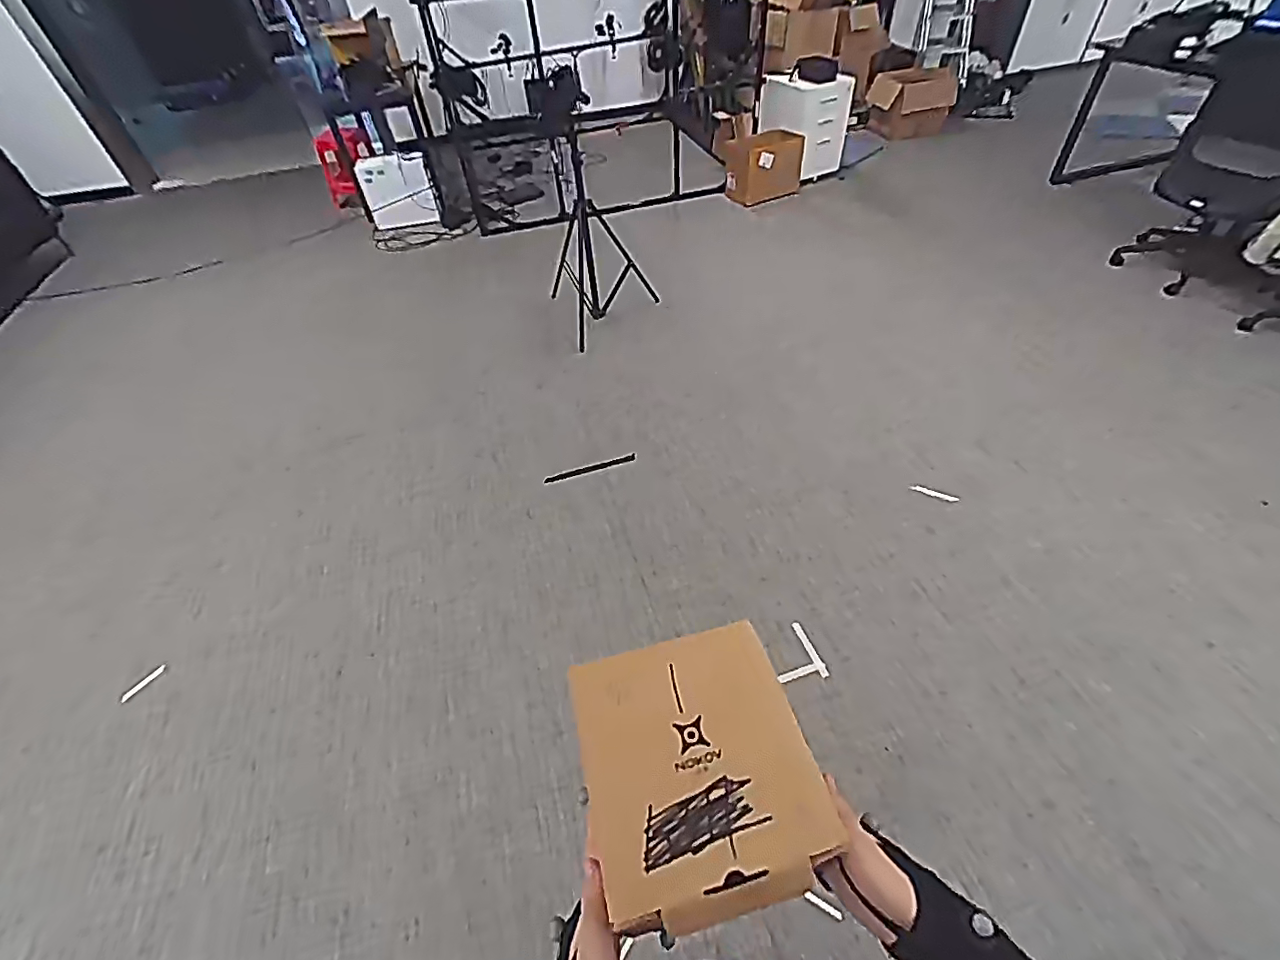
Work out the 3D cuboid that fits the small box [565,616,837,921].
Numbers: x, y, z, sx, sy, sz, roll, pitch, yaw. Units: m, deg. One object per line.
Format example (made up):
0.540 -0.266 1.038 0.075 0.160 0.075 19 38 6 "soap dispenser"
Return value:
0.041 0.251 0.466 0.168 0.176 0.179 -13 48 -8 "small box"
